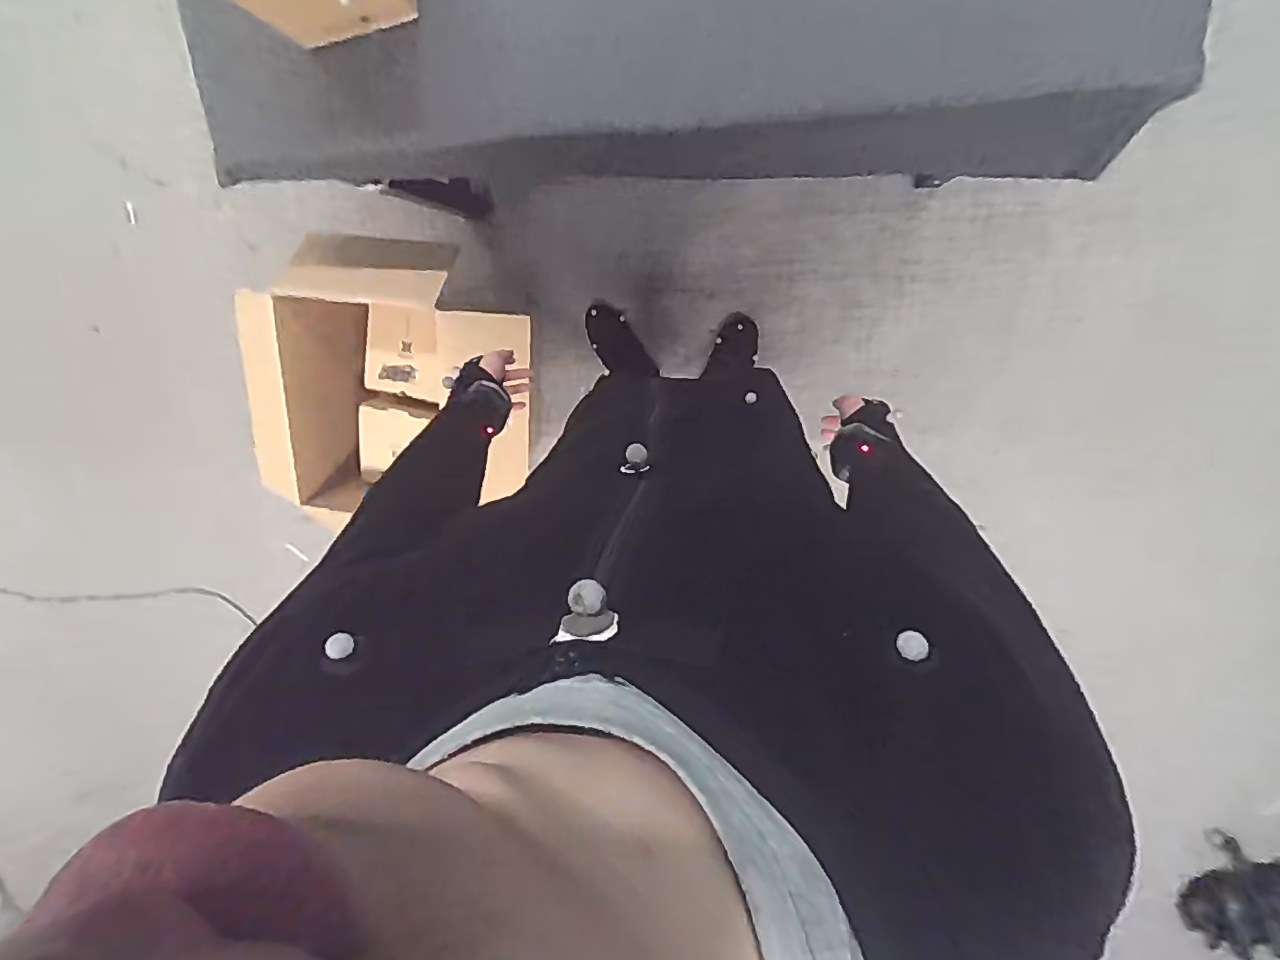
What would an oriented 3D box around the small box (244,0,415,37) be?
[{"bbox_3d":[-0.375,-0.627,0.588,0.168,0.176,0.179,-7,105,9],"label":"small box"}]
